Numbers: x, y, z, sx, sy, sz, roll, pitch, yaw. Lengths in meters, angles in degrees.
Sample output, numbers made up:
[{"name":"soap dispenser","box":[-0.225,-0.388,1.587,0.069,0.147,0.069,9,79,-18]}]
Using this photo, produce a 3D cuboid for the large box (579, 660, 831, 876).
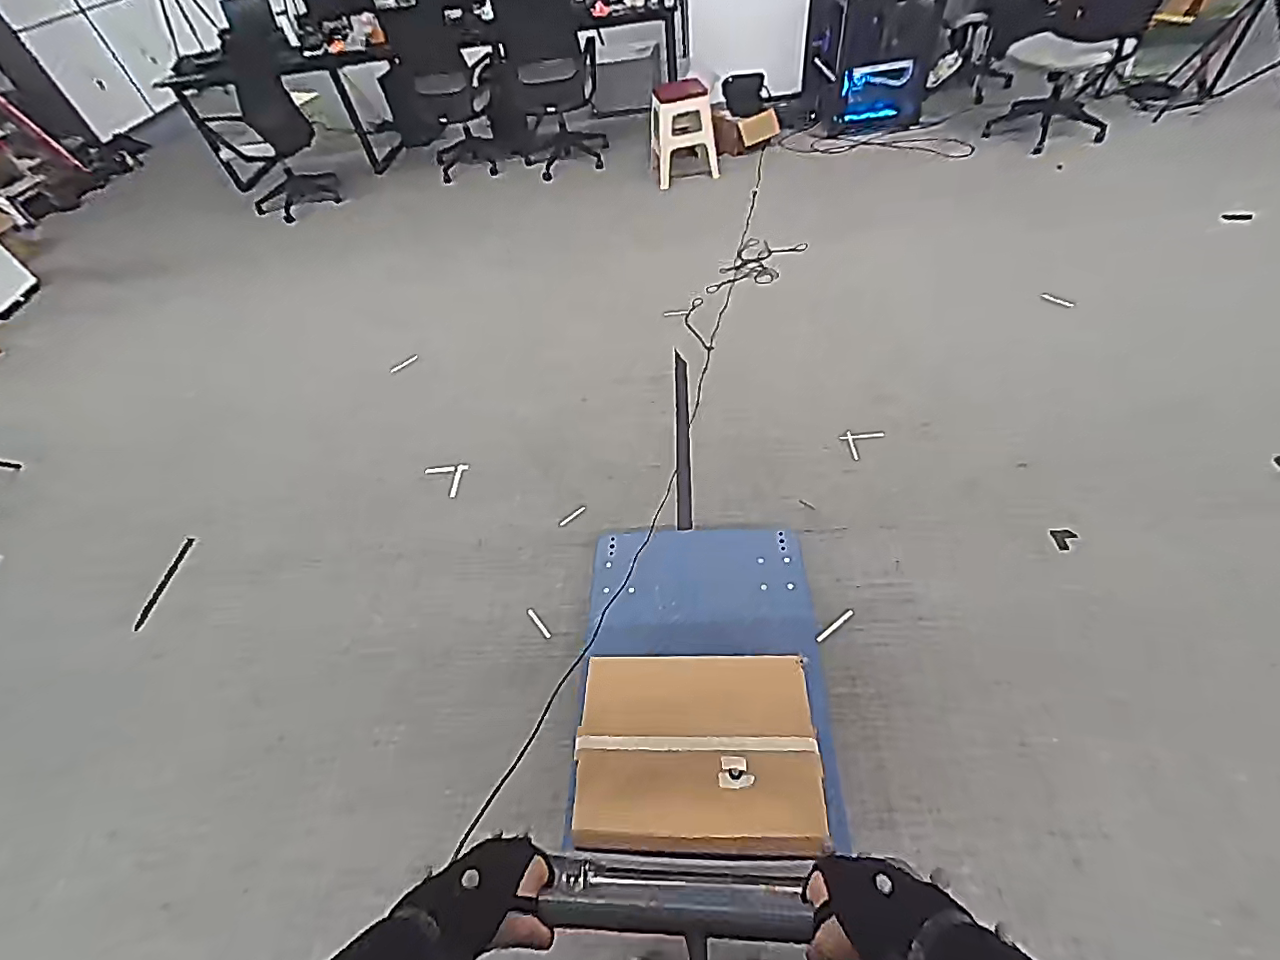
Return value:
[{"name":"large box","box":[0.116,0.565,1.054,0.408,0.320,0.320,-2,49,6]}]
